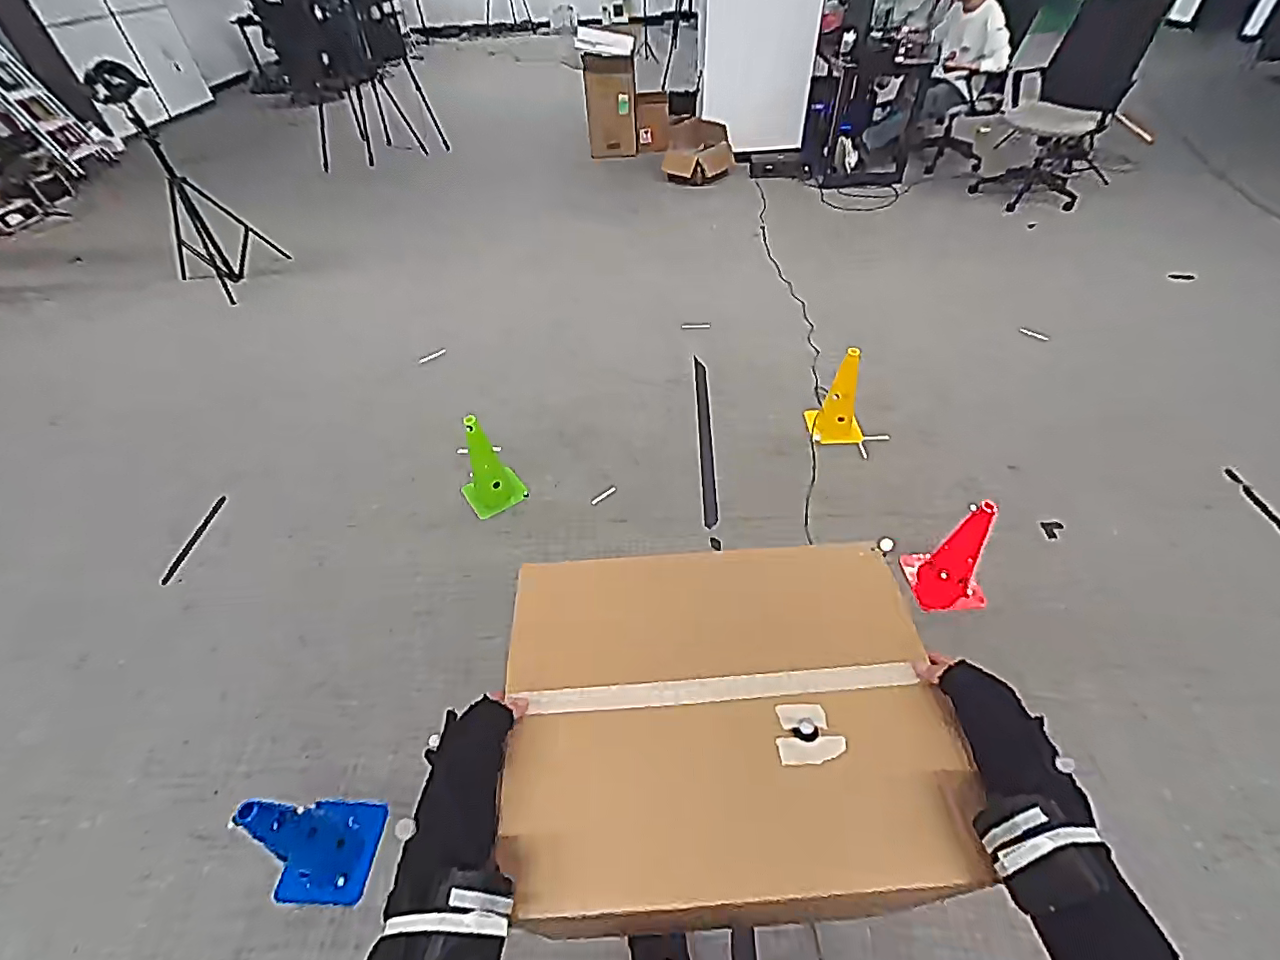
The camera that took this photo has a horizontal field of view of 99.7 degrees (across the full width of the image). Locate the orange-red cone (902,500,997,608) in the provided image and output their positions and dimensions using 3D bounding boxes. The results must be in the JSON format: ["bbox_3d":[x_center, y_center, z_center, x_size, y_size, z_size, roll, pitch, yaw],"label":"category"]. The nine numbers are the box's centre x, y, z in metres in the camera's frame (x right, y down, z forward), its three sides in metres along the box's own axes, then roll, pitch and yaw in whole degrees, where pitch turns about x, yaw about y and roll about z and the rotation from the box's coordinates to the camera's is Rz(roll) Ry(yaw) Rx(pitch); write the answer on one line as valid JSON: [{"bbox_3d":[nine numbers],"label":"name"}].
[{"bbox_3d":[0.924,0.188,1.547,0.198,0.360,0.199,-2,45,0],"label":"orange-red cone"}]

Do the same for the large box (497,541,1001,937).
[{"bbox_3d":[0.079,0.297,0.623,0.408,0.320,0.320,-4,47,-1],"label":"large box"}]

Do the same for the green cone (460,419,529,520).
[{"bbox_3d":[-0.552,-0.070,1.891,0.202,0.368,0.200,-31,51,-21],"label":"green cone"}]

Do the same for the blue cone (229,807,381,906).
[{"bbox_3d":[-0.722,0.755,1.135,0.192,0.380,0.193,0,46,6],"label":"blue cone"}]
